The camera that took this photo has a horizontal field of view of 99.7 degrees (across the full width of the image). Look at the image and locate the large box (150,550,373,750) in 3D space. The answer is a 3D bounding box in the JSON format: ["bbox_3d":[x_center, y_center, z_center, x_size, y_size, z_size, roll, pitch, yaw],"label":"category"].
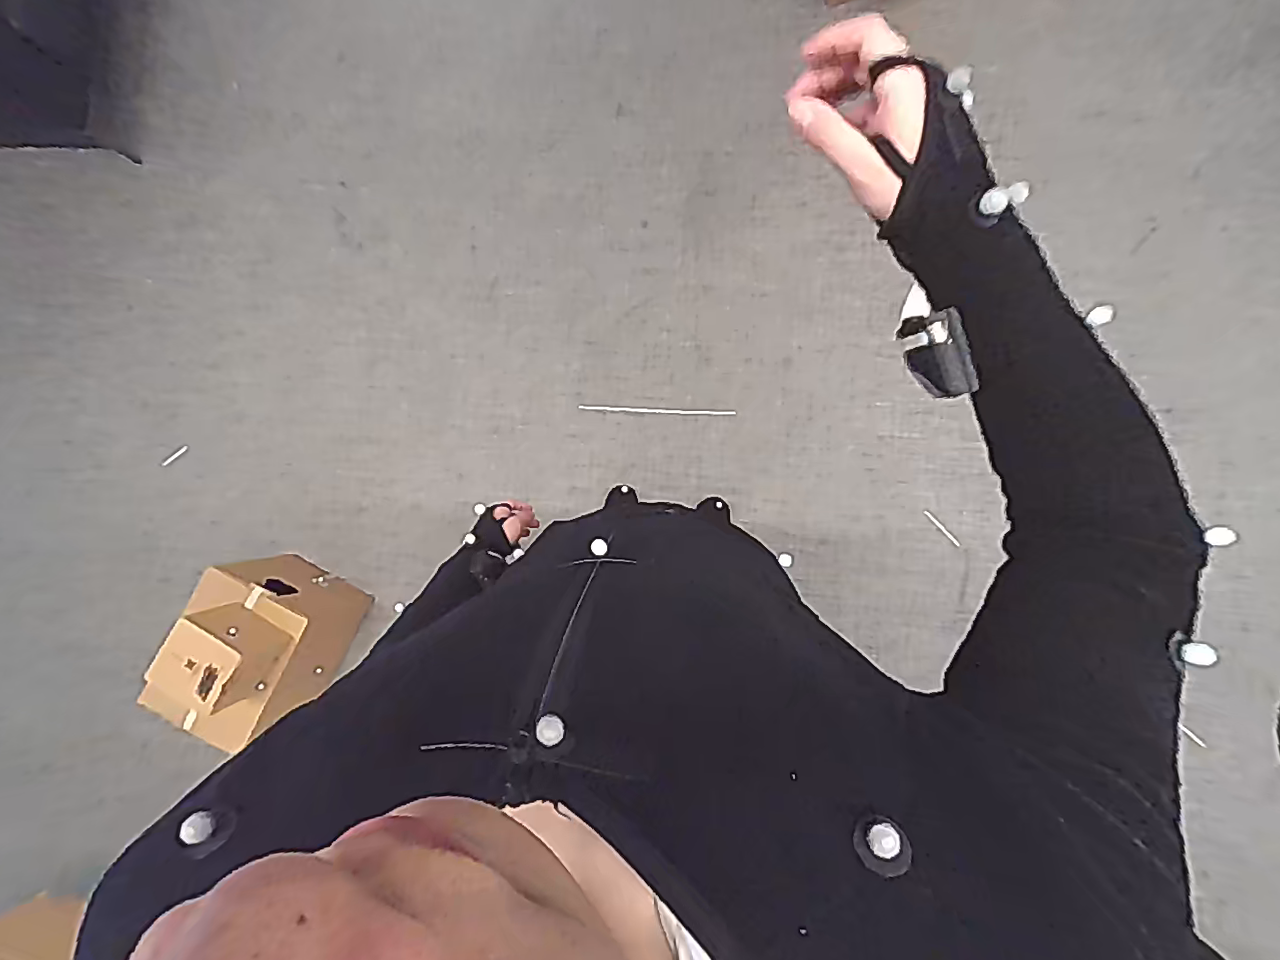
[{"bbox_3d":[-1.054,0.458,1.550,0.320,0.320,0.408,27,91,4],"label":"large box"}]

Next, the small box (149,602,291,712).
[{"bbox_3d":[-0.997,0.413,1.301,0.179,0.176,0.168,31,90,3],"label":"small box"}]

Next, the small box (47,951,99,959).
[{"bbox_3d":[-1.311,1.195,1.188,0.179,0.176,0.168,11,89,2],"label":"small box"}]
